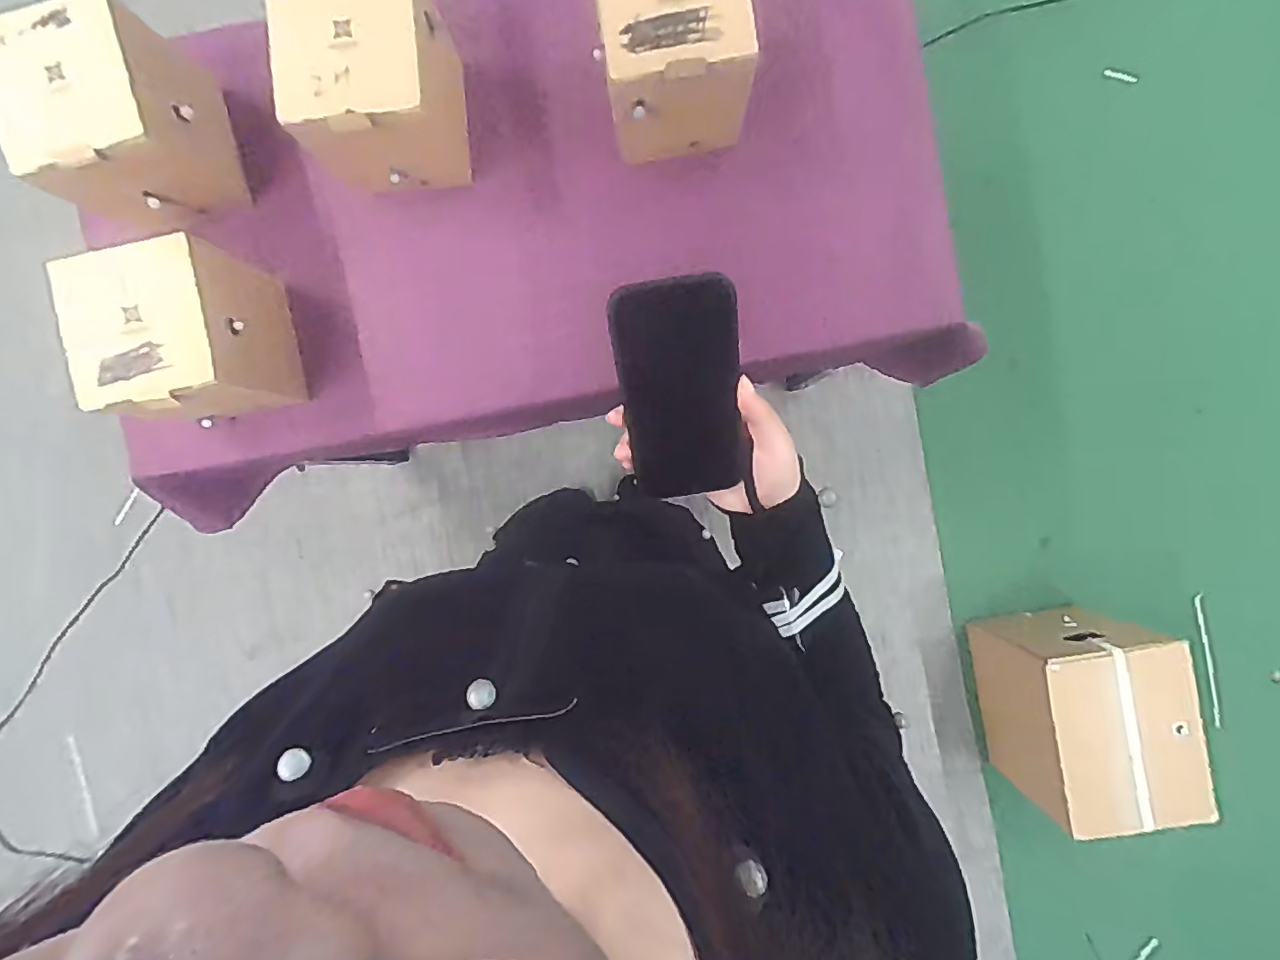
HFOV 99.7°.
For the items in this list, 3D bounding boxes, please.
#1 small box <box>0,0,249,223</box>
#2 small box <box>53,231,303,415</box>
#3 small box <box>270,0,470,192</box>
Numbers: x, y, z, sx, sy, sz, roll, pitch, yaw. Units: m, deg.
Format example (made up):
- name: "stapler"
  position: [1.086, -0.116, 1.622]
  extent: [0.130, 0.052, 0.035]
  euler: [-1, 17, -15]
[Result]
- name: "small box"
  position: [-0.648, -0.452, 0.689]
  extent: [0.168, 0.176, 0.179]
  euler: [-15, 92, 1]
- name: "small box"
  position: [-0.571, -0.184, 0.695]
  extent: [0.168, 0.176, 0.179]
  euler: [-12, 90, 1]
- name: "small box"
  position: [-0.324, -0.494, 0.678]
  extent: [0.168, 0.176, 0.179]
  euler: [-3, 92, 2]
